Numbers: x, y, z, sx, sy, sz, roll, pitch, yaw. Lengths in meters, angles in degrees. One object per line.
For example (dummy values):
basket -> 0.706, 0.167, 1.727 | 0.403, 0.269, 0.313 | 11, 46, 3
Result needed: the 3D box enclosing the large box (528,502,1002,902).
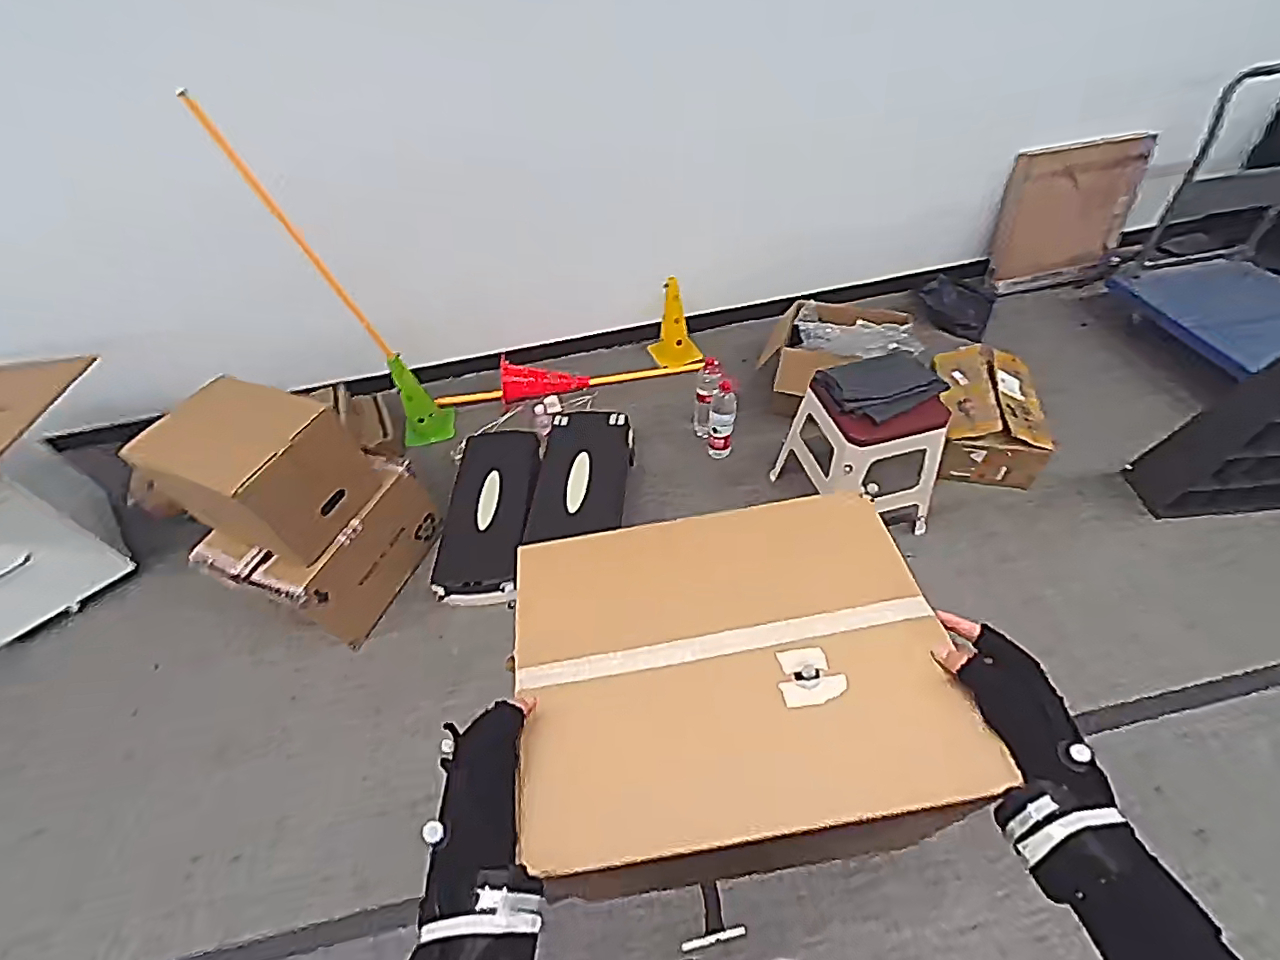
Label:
large box -> 0.099, 0.269, 0.648 | 0.408, 0.320, 0.320 | -9, 49, -1
